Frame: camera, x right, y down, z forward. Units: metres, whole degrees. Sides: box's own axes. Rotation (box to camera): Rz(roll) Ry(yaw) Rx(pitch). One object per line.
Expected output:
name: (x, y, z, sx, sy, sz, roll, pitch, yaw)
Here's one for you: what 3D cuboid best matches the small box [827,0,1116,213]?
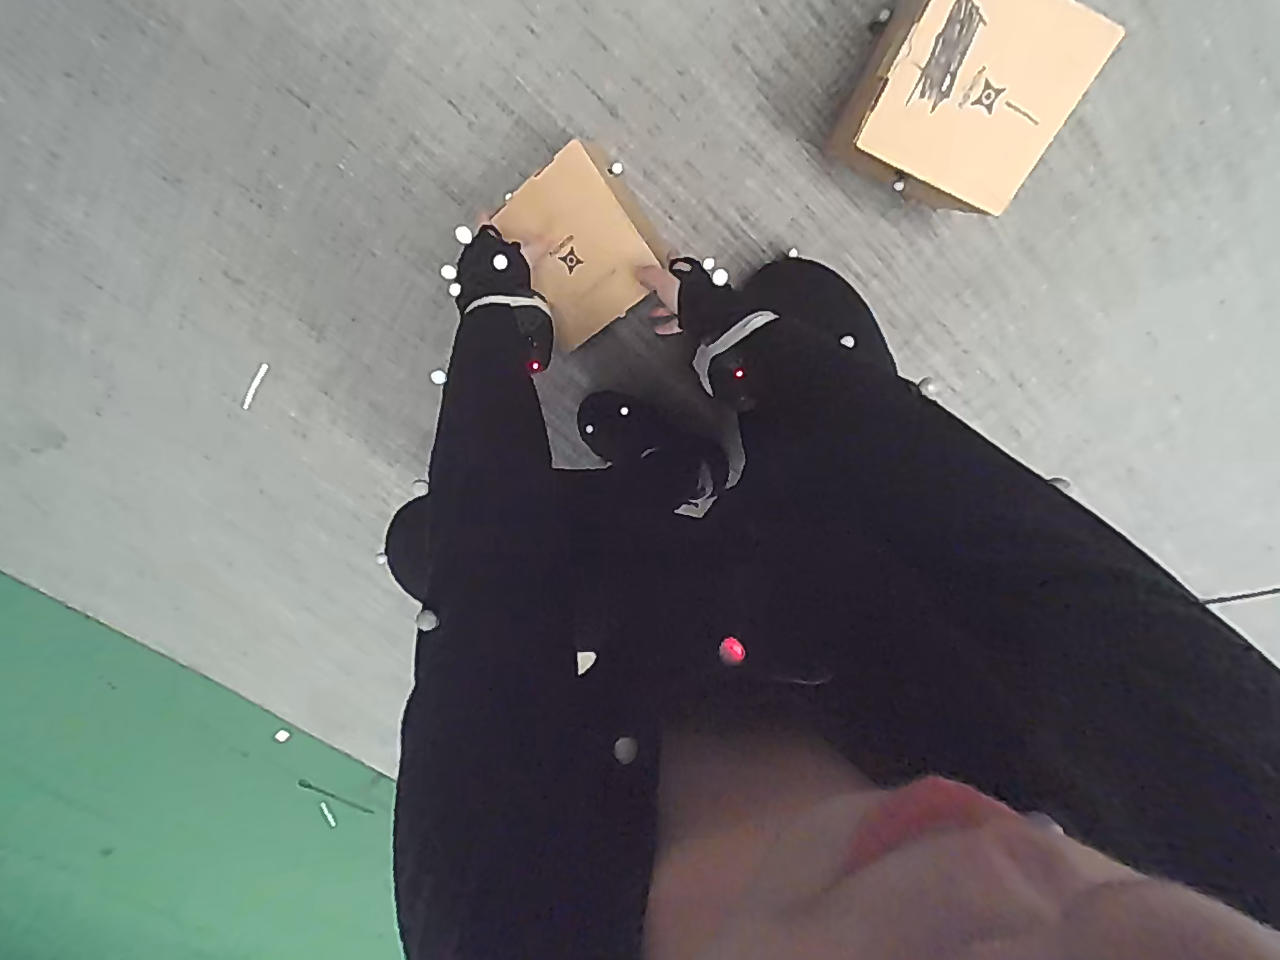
small box: (0.329, -0.410, 0.586, 0.179, 0.176, 0.168, 22, 120, -6)
